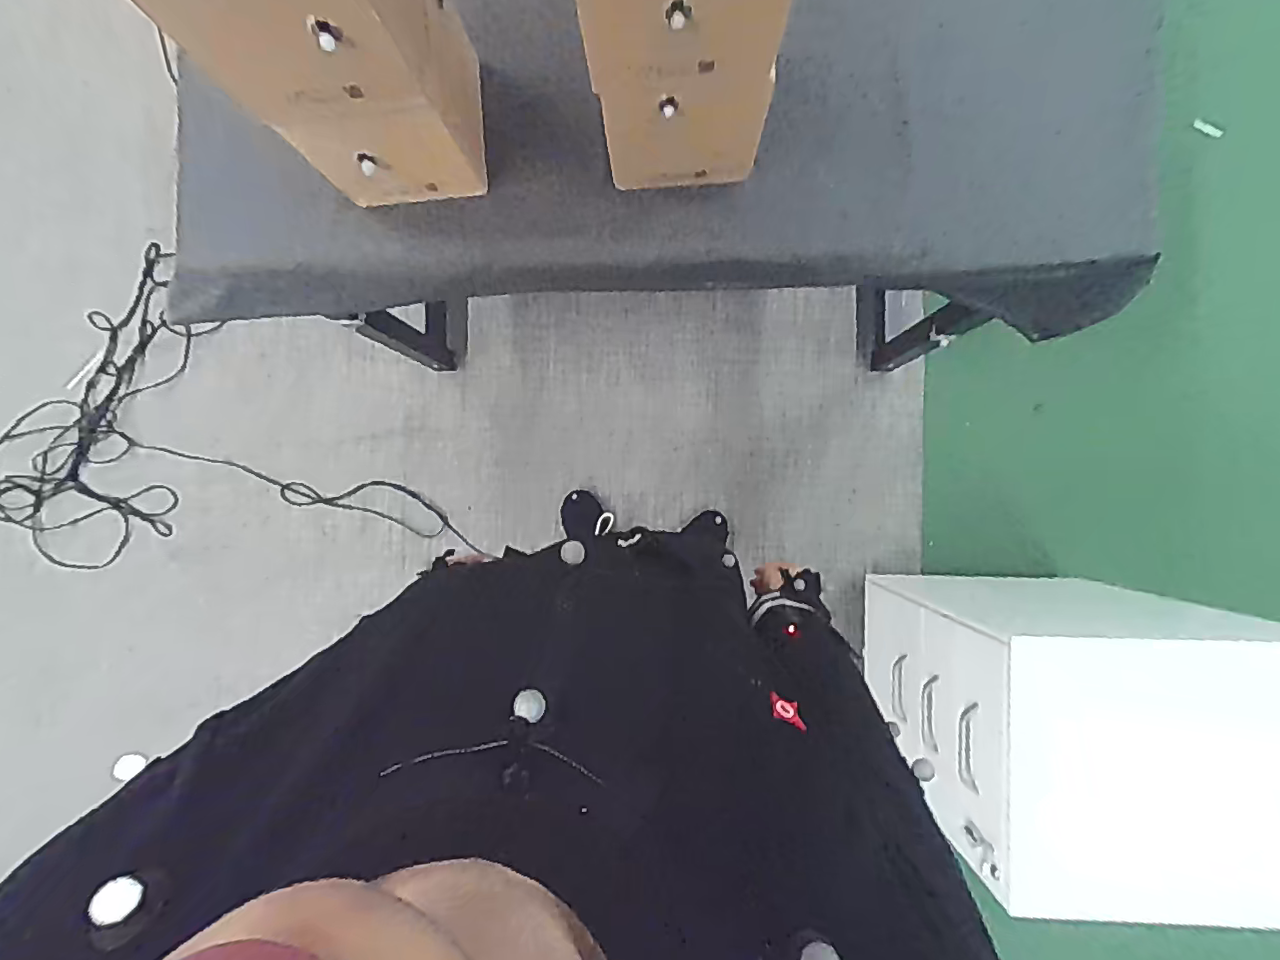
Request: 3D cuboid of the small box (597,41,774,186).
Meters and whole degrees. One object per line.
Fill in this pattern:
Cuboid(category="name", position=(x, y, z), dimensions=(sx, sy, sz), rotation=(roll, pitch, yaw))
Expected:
Cuboid(category="small box", position=(0.040, -0.451, 0.581), dimensions=(0.168, 0.176, 0.179), rotation=(-3, 89, 2))

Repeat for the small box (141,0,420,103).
Cuboid(category="small box", position=(-0.289, -0.434, 0.427), dimensions=(0.168, 0.176, 0.179), rotation=(-6, 88, 0))

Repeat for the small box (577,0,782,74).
Cuboid(category="small box", position=(0.029, -0.451, 0.415), dimensions=(0.168, 0.176, 0.179), rotation=(-3, 89, 1))

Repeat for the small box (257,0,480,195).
Cuboid(category="small box", position=(-0.283, -0.435, 0.589), dimensions=(0.168, 0.176, 0.179), rotation=(-5, 89, 2))
